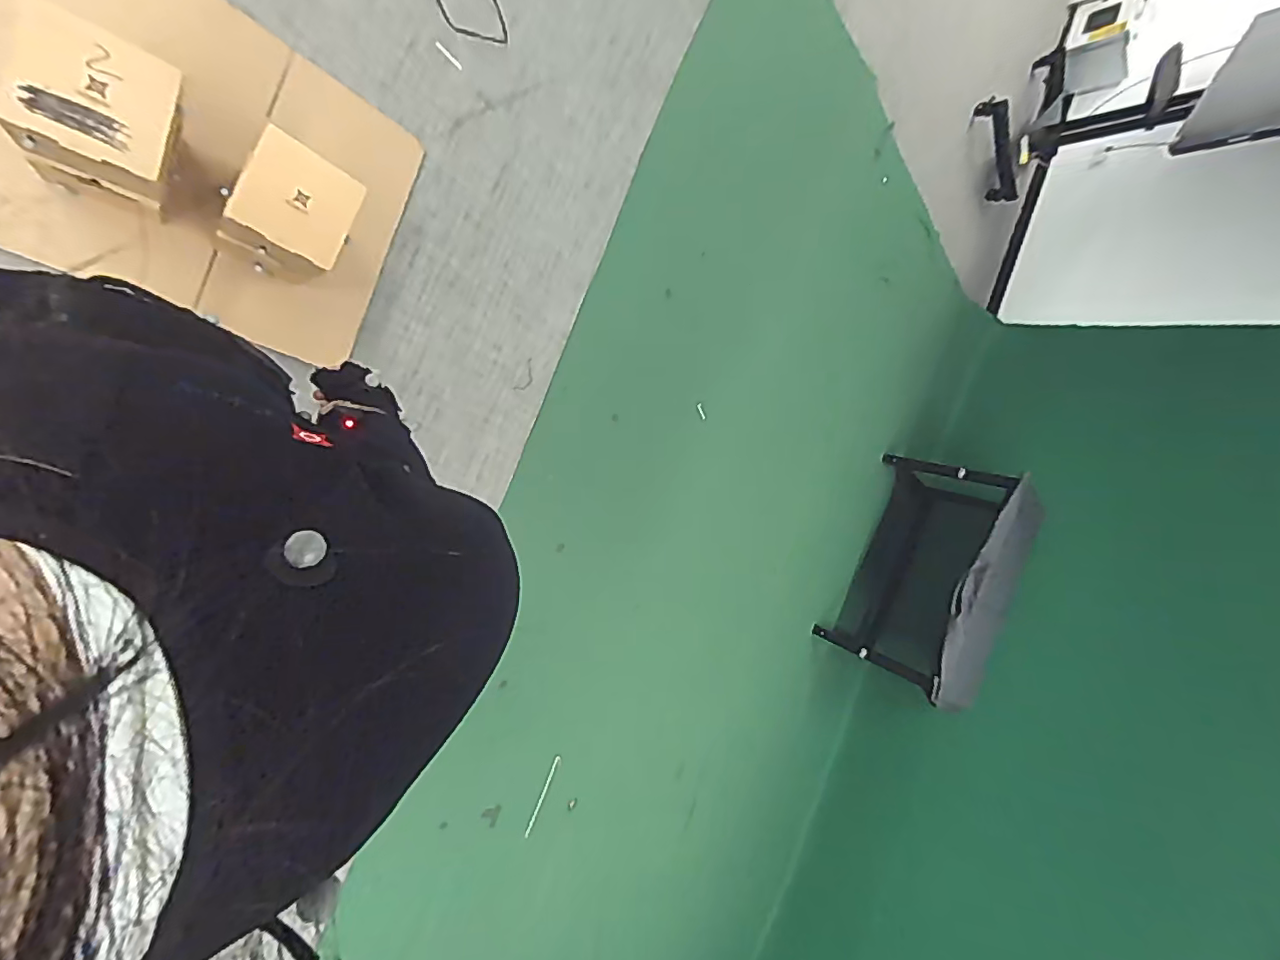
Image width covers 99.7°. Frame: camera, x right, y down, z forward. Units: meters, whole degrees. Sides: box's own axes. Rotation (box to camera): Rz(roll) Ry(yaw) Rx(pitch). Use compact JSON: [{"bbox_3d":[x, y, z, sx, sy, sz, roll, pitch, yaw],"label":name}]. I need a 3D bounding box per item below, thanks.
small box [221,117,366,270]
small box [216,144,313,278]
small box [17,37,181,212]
[{"bbox_3d":[-0.639,-0.509,0.989,0.168,0.176,0.179,25,86,-42],"label":"small box"},{"bbox_3d":[-0.746,-0.538,1.108,0.168,0.176,0.179,21,89,-41],"label":"small box"},{"bbox_3d":[-0.920,-0.593,0.935,0.168,0.176,0.179,15,92,-43],"label":"small box"}]
